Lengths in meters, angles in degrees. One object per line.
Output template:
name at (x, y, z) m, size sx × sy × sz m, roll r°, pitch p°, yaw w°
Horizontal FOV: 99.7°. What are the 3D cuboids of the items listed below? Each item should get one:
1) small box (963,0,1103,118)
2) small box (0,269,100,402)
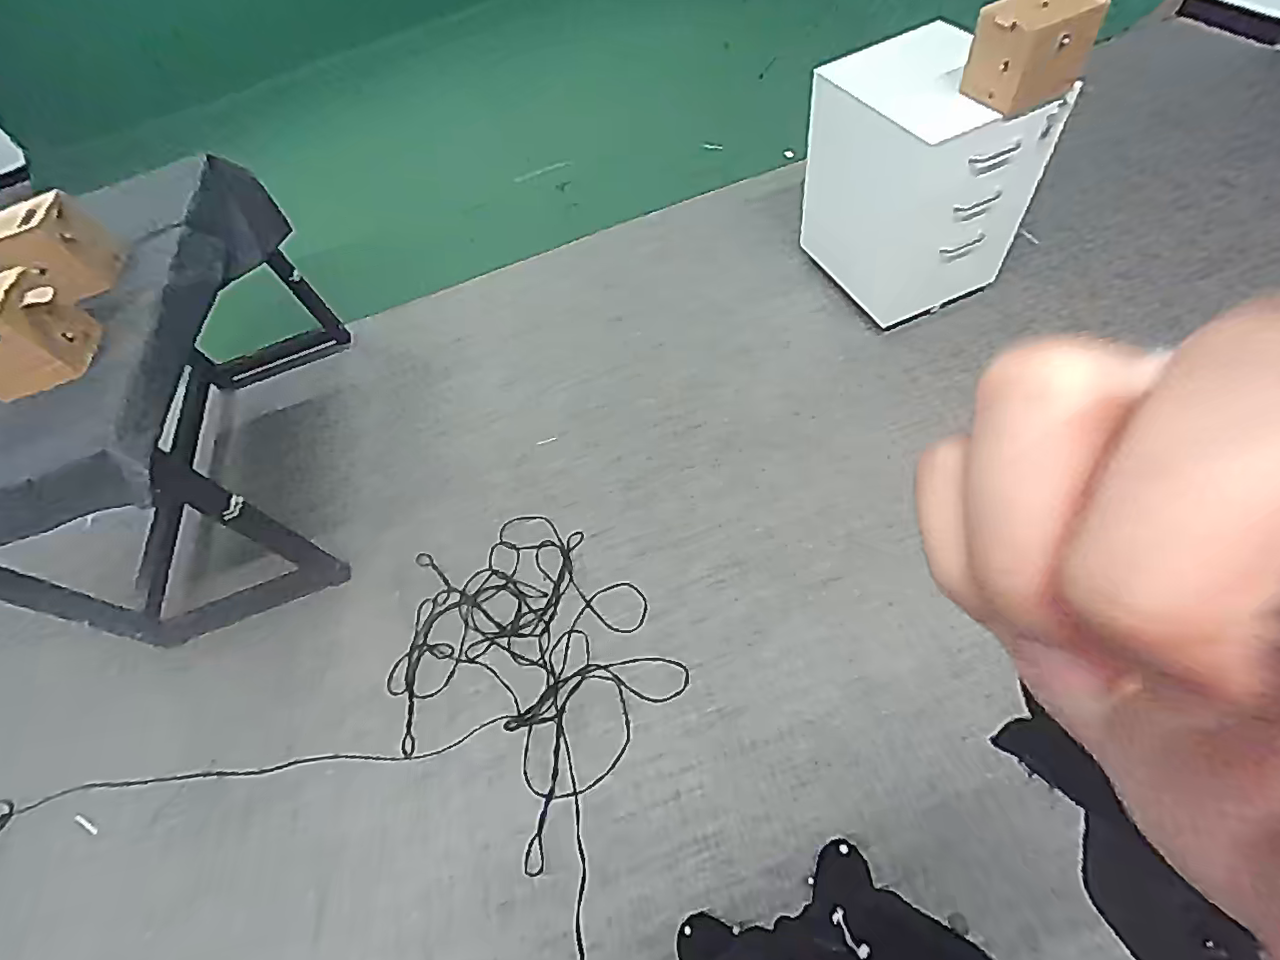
small box at (0.864, -0.954, 1.216) m, size 0.179 × 0.176 × 0.168 m, roll -23°, pitch 57°, yaw -3°
small box at (-1.272, -0.285, 1.091) m, size 0.179 × 0.176 × 0.168 m, roll -20°, pitch 56°, yaw -2°
